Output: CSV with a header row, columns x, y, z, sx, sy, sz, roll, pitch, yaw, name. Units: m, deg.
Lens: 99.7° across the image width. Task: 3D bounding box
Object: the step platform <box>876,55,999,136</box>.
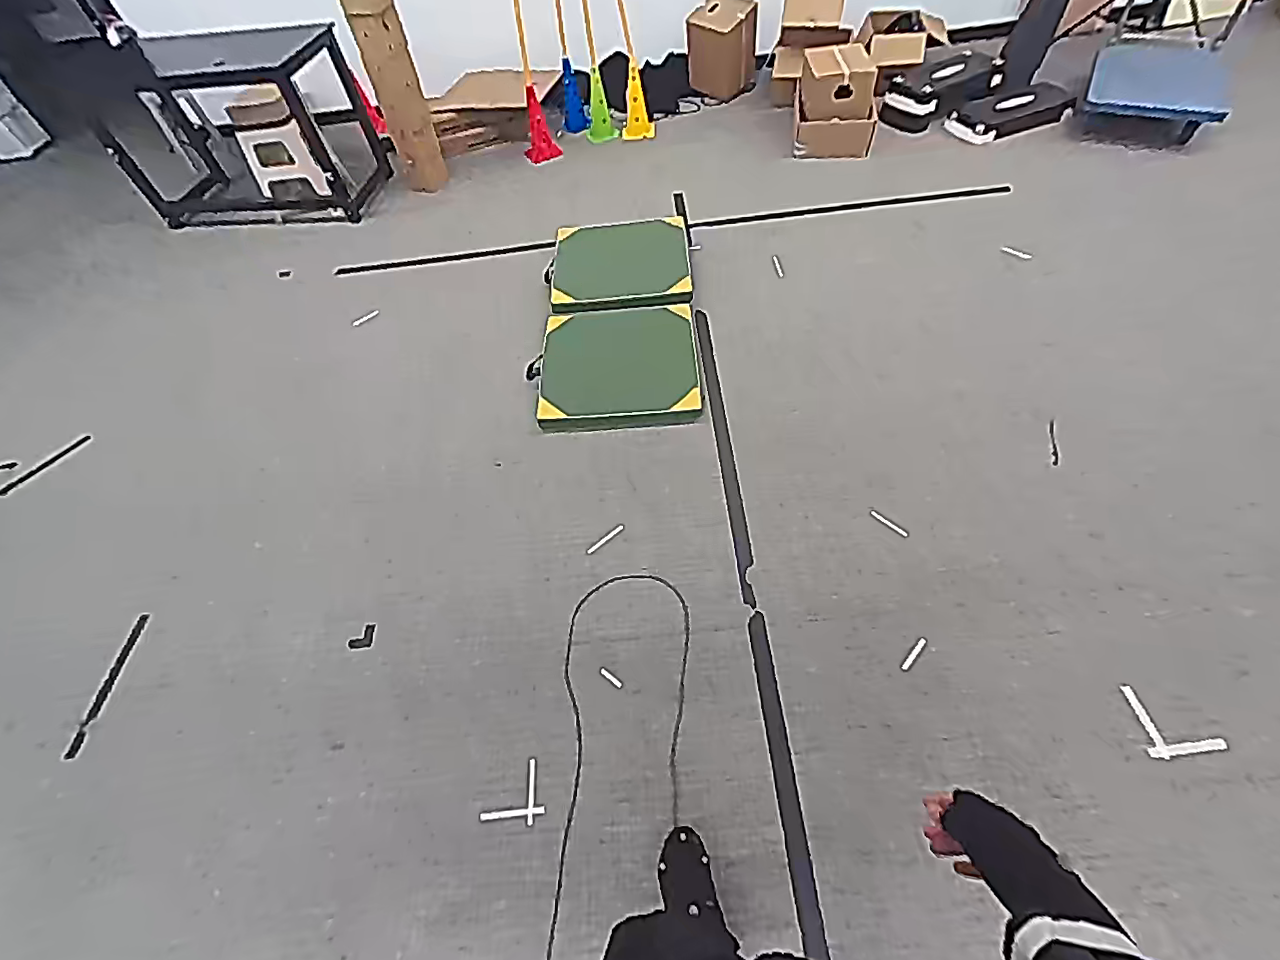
x,y,z,sx,sy,sz,roll,pitch,yaw,name
1.715,-2.221,3.112,0.684,0.204,0.286,-30,57,-14,step platform
